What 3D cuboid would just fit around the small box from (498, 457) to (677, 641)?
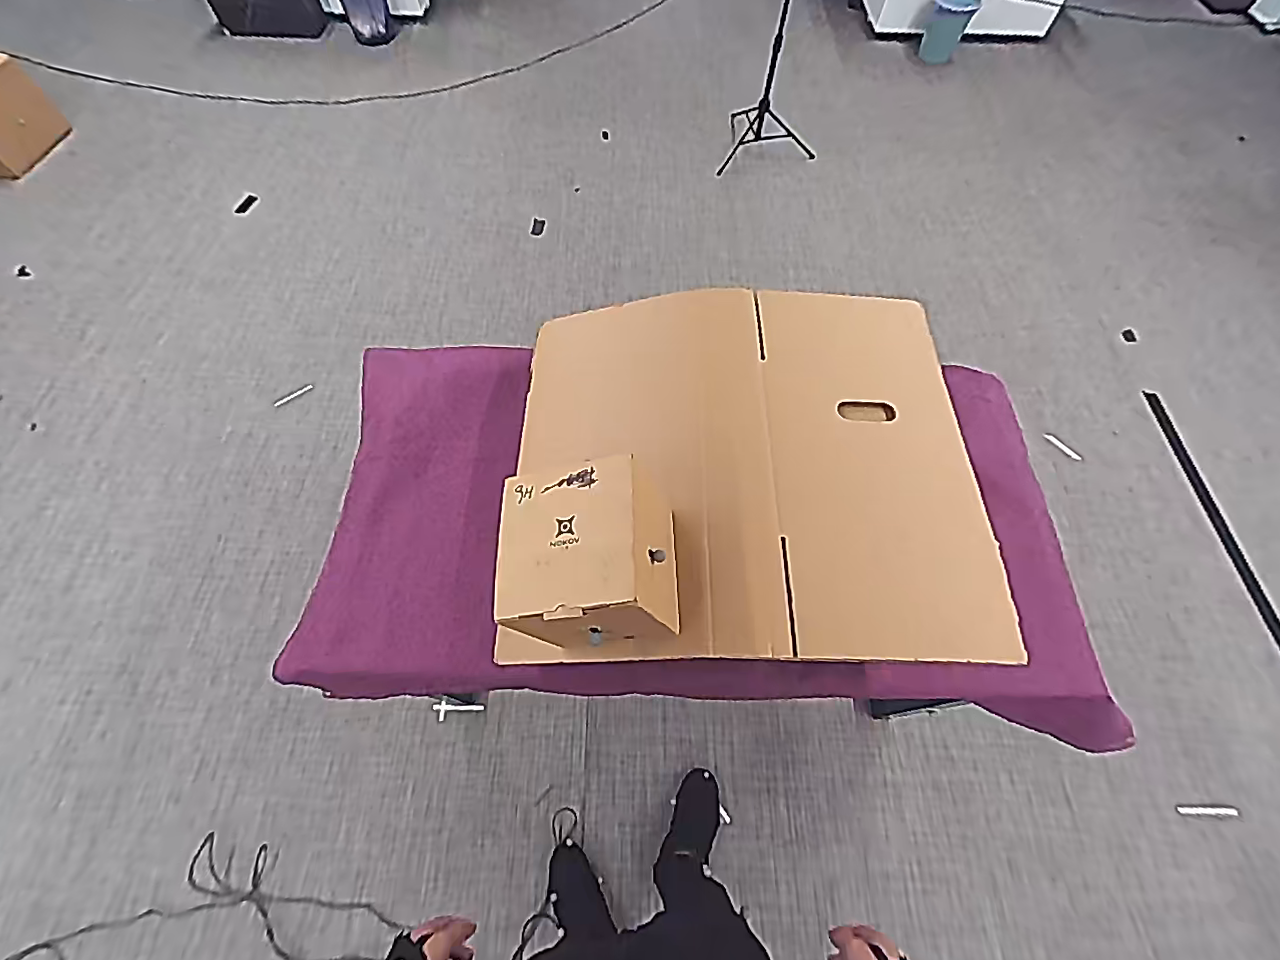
[{"bbox_3d":[-0.055,0.097,0.668,0.168,0.176,0.179,-10,62,15],"label":"small box"}]
